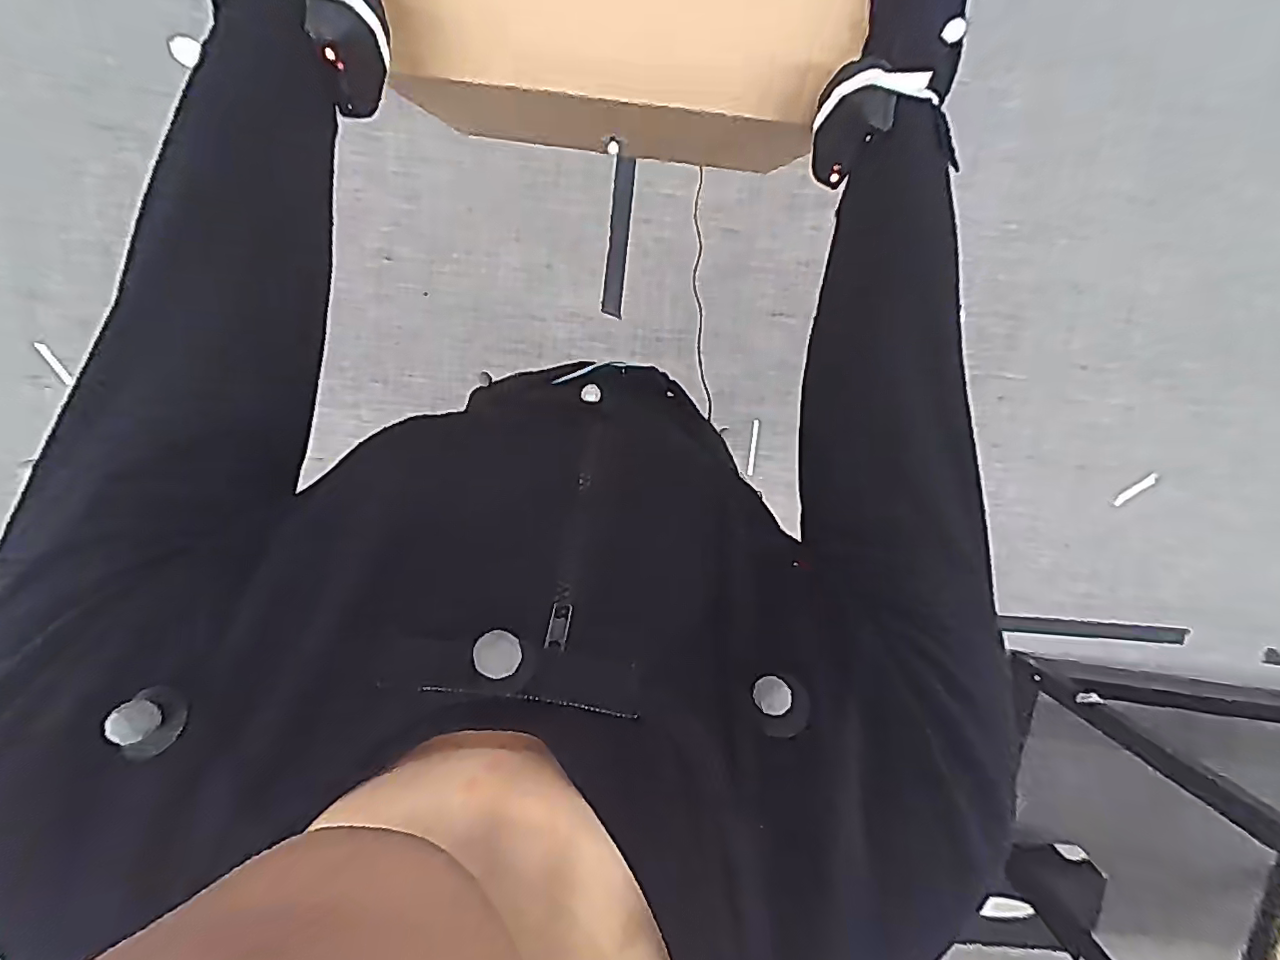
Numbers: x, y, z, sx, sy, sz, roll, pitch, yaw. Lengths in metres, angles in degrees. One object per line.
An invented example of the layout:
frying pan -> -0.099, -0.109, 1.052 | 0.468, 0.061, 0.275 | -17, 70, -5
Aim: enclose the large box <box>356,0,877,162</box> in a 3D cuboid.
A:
large box -> -0.009, -0.509, 0.511 | 0.408, 0.320, 0.320 | 5, 113, -3
